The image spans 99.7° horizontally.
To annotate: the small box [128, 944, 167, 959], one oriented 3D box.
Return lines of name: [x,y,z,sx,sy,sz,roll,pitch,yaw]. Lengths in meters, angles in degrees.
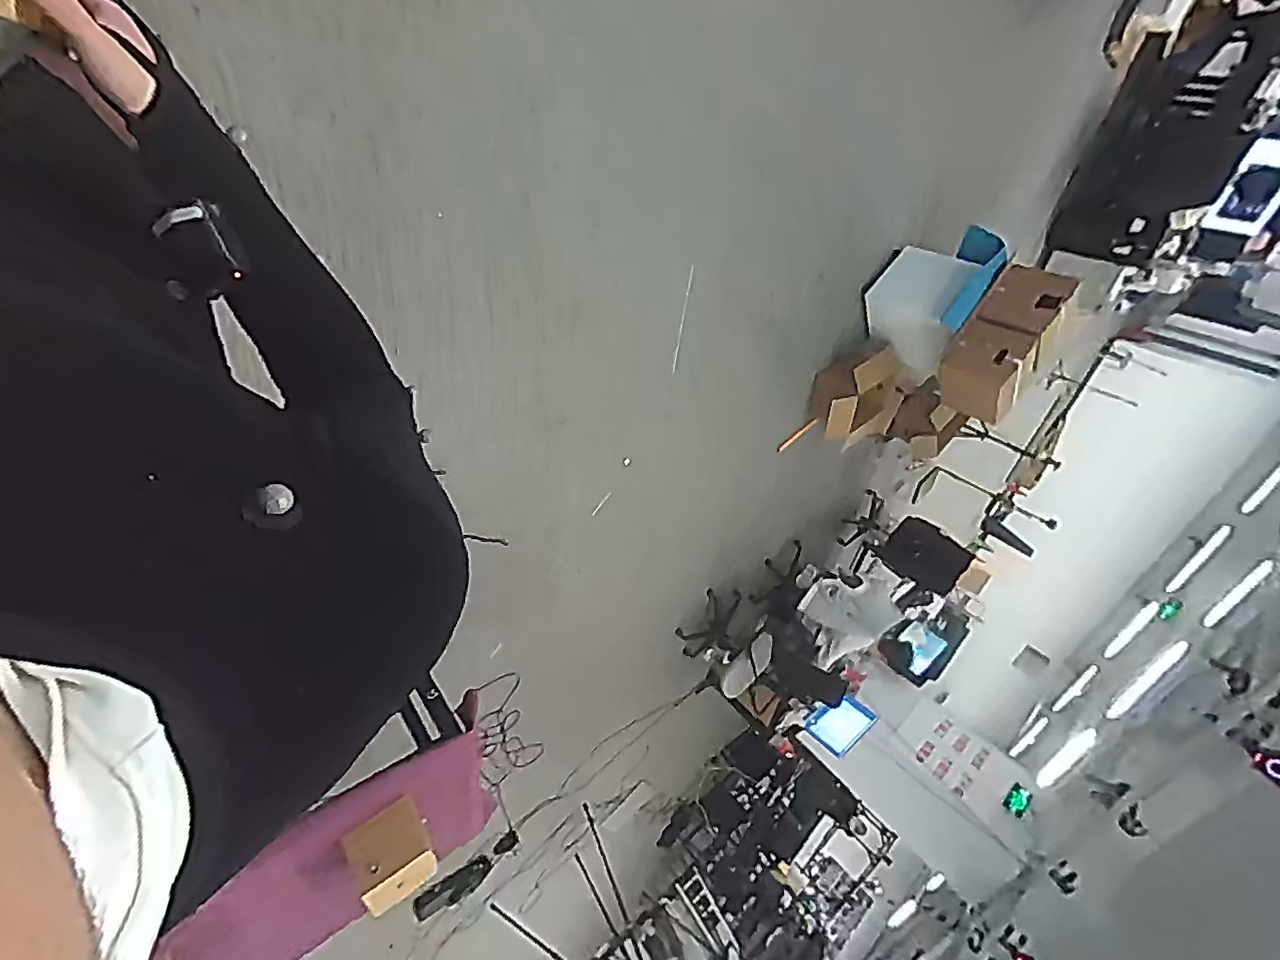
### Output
small box: [-1.102,1.147,1.141,0.179,0.176,0.168,-9,128,-43]

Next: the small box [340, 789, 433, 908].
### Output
small box: [-0.686,0.986,1.456,0.179,0.176,0.168,-24,137,-33]

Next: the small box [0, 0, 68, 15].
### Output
small box: [-0.476,-0.409,0.314,0.179,0.176,0.168,0,121,-40]
